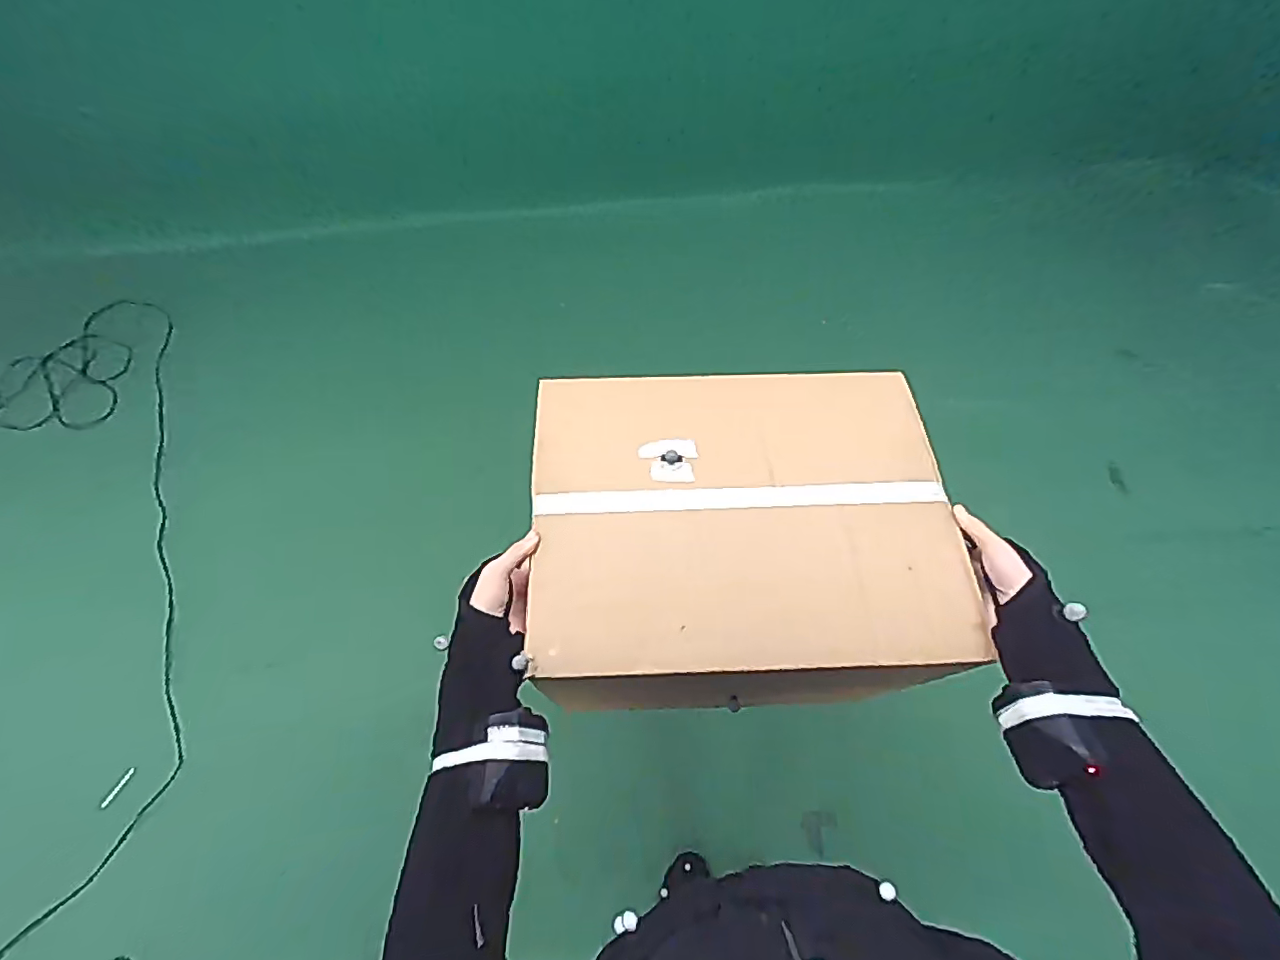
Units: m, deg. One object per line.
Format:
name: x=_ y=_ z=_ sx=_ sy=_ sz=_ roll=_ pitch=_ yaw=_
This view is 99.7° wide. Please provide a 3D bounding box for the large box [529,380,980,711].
large box: x=0.098 y=0.101 z=0.669 sx=0.408 sy=0.320 sz=0.320 roll=-2 pitch=61 yaw=0
